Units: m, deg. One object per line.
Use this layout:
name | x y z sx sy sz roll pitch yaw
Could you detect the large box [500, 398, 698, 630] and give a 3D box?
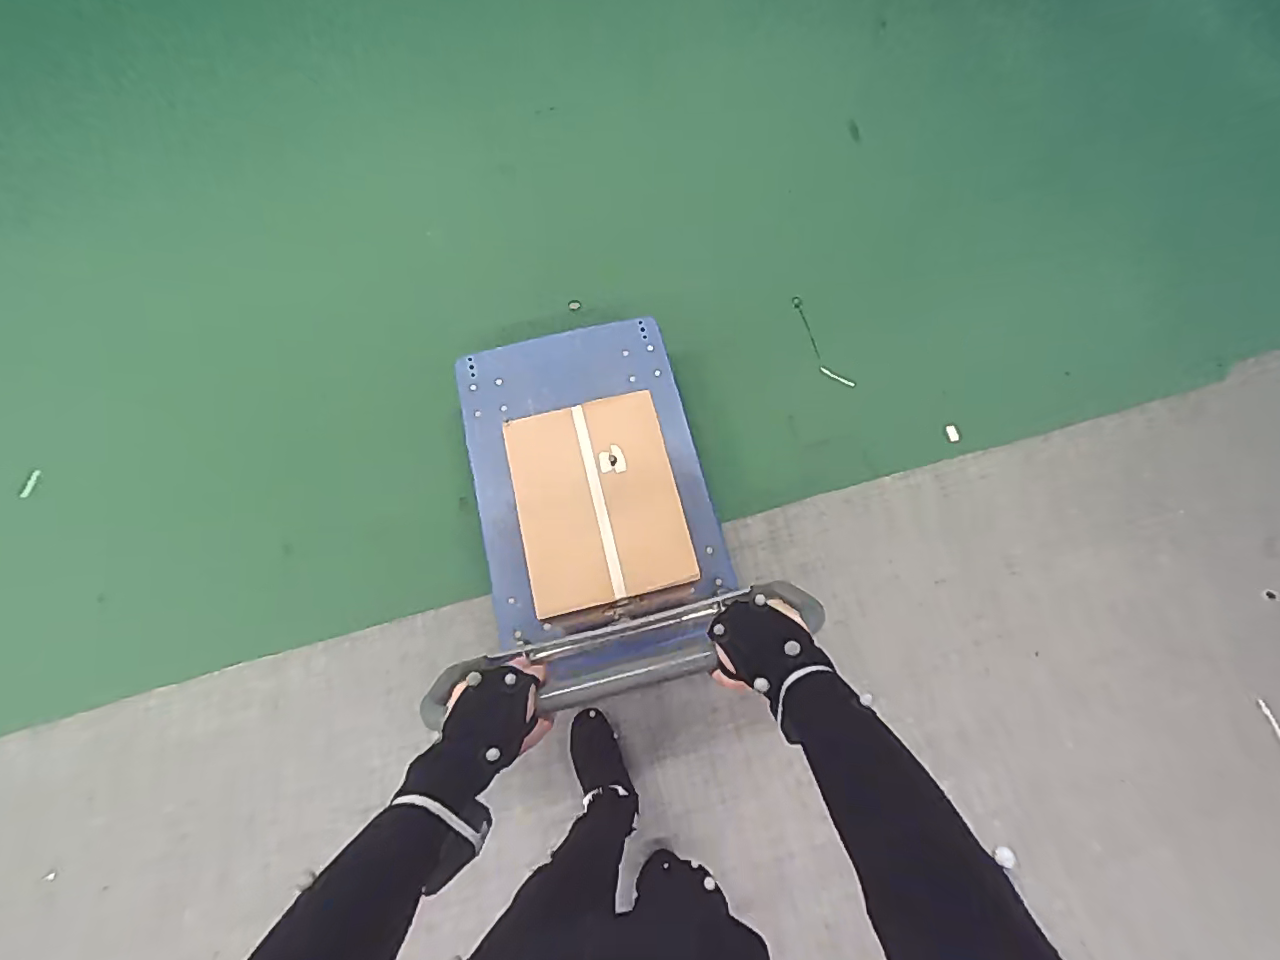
large box | -0.085 0.093 1.197 0.320 0.320 0.408 -14 73 -4
